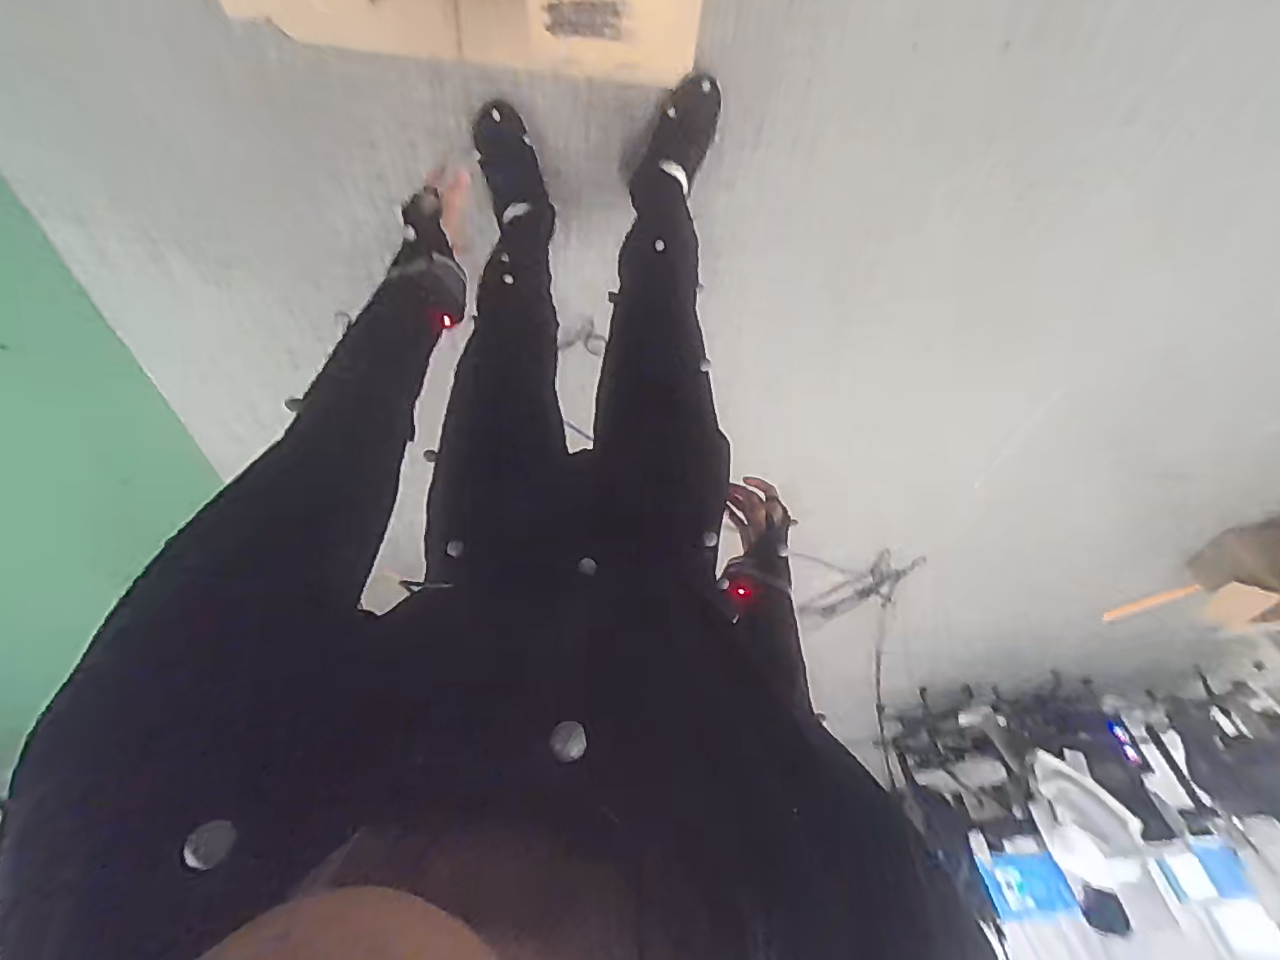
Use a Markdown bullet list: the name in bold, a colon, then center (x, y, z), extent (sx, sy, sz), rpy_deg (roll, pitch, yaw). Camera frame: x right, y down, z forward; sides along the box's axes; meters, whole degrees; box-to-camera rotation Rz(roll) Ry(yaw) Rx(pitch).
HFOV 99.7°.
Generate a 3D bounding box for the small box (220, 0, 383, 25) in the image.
- **small box**: center (-0.402, -0.649, 0.612), extent (0.168, 0.176, 0.179), rpy_deg (-7, 139, 2)
